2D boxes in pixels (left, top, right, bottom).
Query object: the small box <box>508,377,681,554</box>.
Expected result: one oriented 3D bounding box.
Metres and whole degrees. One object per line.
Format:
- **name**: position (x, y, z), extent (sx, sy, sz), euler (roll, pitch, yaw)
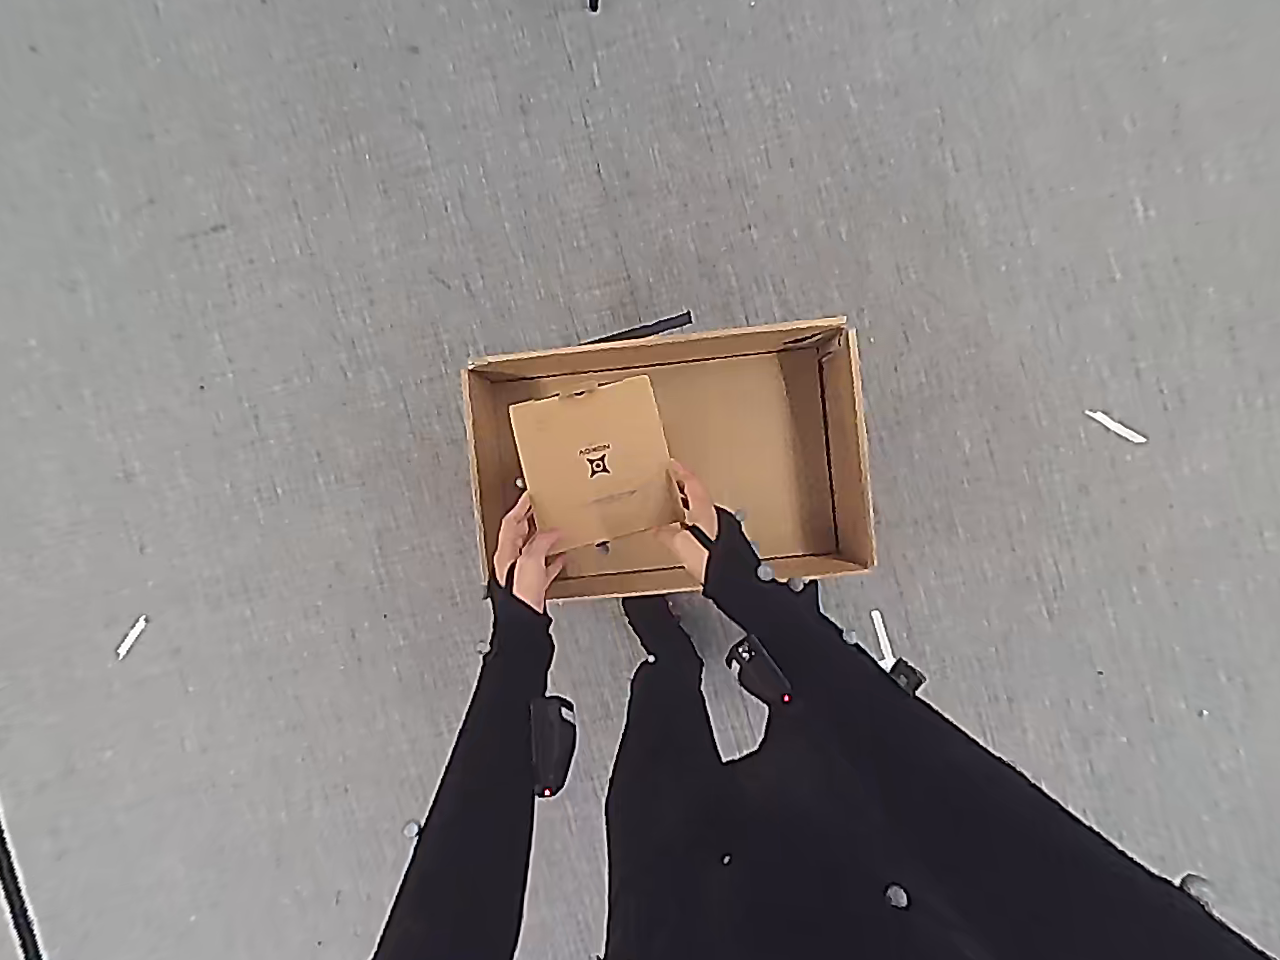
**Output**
- **small box**: position (-0.058, -0.008, 0.684), extent (0.168, 0.176, 0.179), euler (-14, 84, -5)
